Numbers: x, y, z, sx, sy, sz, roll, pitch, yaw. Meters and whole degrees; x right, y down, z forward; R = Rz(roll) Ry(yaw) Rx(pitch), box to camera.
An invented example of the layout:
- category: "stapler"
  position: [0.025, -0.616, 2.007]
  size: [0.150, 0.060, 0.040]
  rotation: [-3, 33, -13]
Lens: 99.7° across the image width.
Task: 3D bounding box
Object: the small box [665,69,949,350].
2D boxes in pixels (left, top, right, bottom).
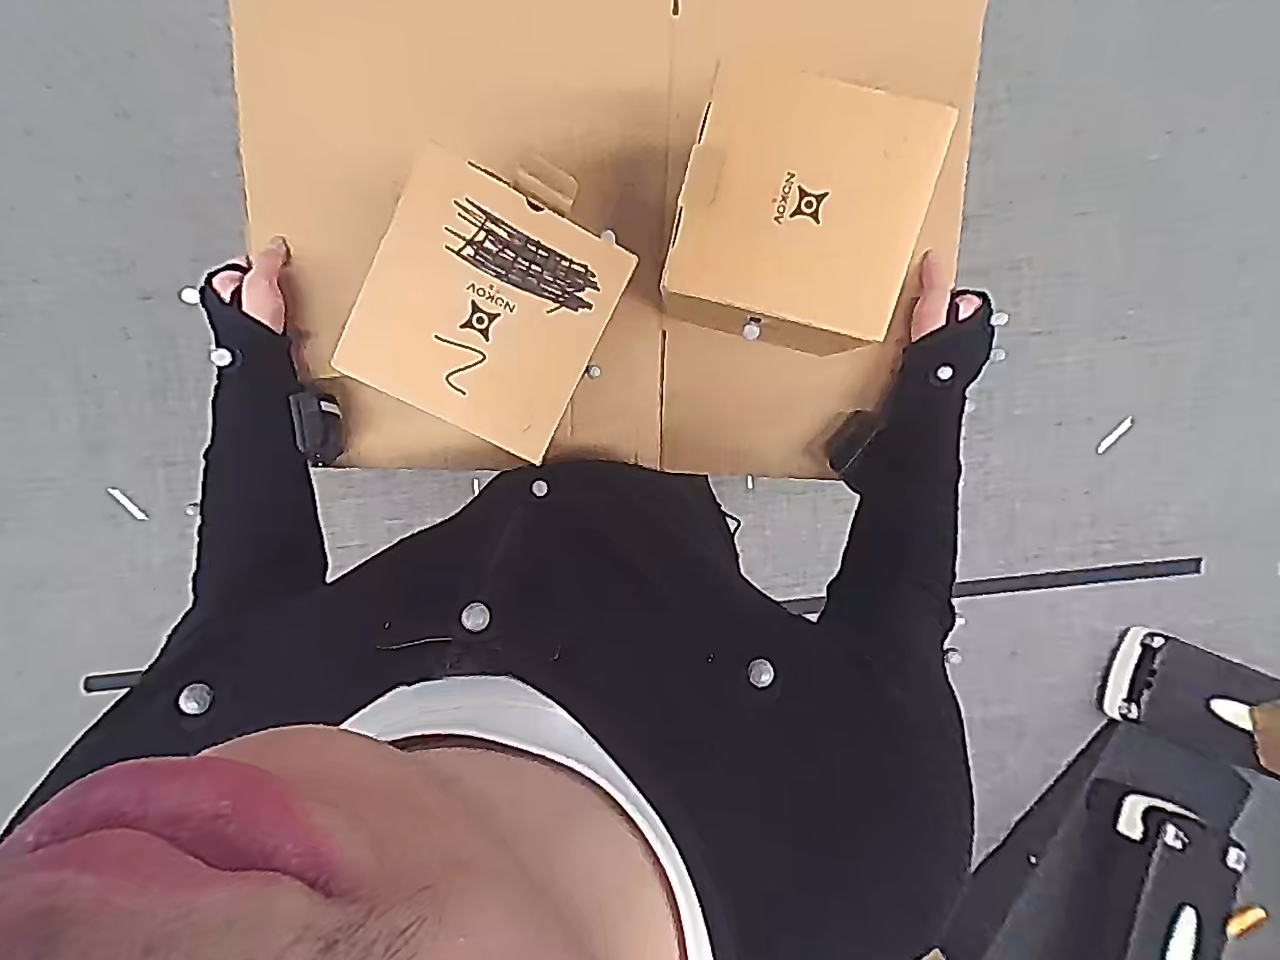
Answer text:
- category: "small box"
  position: [0.131, -0.220, 0.490]
  size: [0.179, 0.176, 0.168]
  rotation: [15, 100, 4]
